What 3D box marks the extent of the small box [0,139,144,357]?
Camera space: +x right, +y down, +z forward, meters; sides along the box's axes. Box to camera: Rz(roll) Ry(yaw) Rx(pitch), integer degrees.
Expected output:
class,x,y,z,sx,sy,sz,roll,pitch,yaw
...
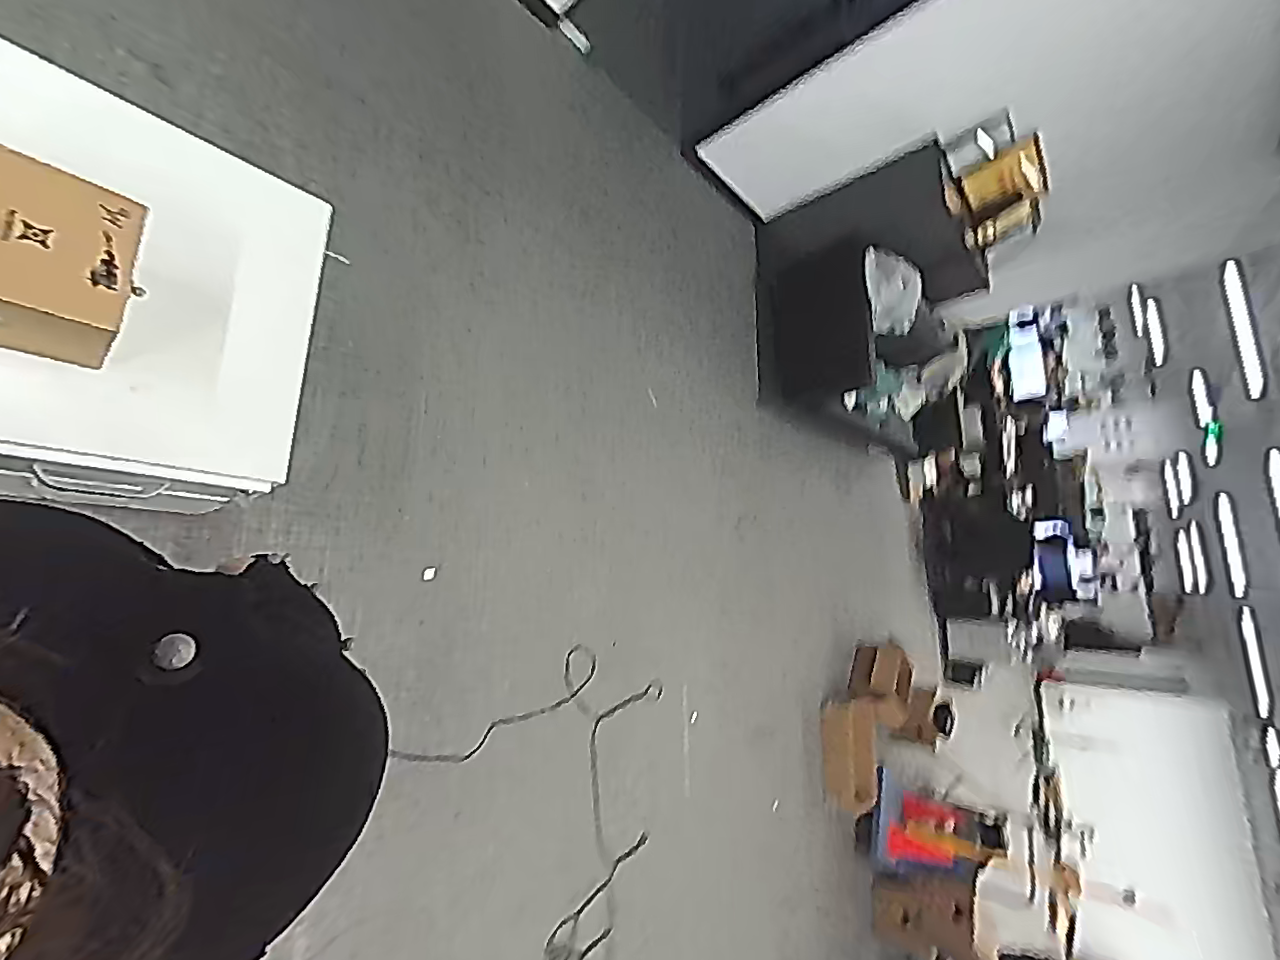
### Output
class,x,y,z,sx,sy,sz,roll,pitch,yaw
small box,-0.703,-0.256,0.607,0.179,0.176,0.168,15,72,-48
